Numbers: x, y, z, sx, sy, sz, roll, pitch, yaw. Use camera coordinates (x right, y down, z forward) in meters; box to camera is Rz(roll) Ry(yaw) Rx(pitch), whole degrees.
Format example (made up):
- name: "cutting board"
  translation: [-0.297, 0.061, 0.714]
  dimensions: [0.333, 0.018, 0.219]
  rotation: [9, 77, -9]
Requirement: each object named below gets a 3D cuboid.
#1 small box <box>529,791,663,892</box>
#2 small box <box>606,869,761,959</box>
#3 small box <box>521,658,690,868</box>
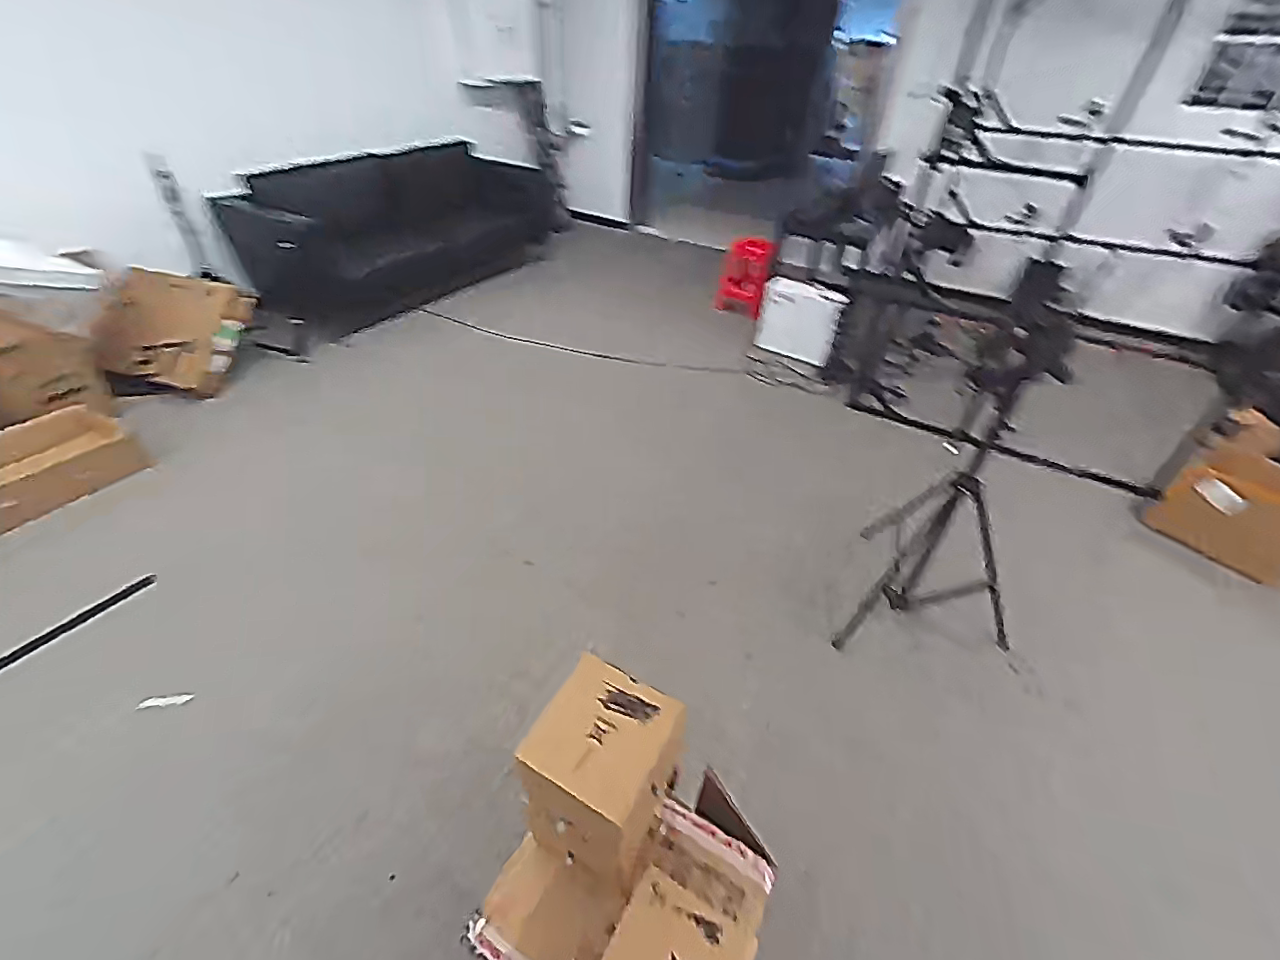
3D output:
- name: "small box"
  translation: [-0.059, 0.518, 0.881]
  dimensions: [0.168, 0.176, 0.179]
  rotation: [19, 43, 21]
- name: "small box"
  translation: [0.039, 0.667, 0.706]
  dimensions: [0.168, 0.176, 0.179]
  rotation: [23, 45, 22]
- name: "small box"
  translation: [-0.044, 0.398, 0.769]
  dimensions: [0.168, 0.176, 0.179]
  rotation: [21, 44, 23]
